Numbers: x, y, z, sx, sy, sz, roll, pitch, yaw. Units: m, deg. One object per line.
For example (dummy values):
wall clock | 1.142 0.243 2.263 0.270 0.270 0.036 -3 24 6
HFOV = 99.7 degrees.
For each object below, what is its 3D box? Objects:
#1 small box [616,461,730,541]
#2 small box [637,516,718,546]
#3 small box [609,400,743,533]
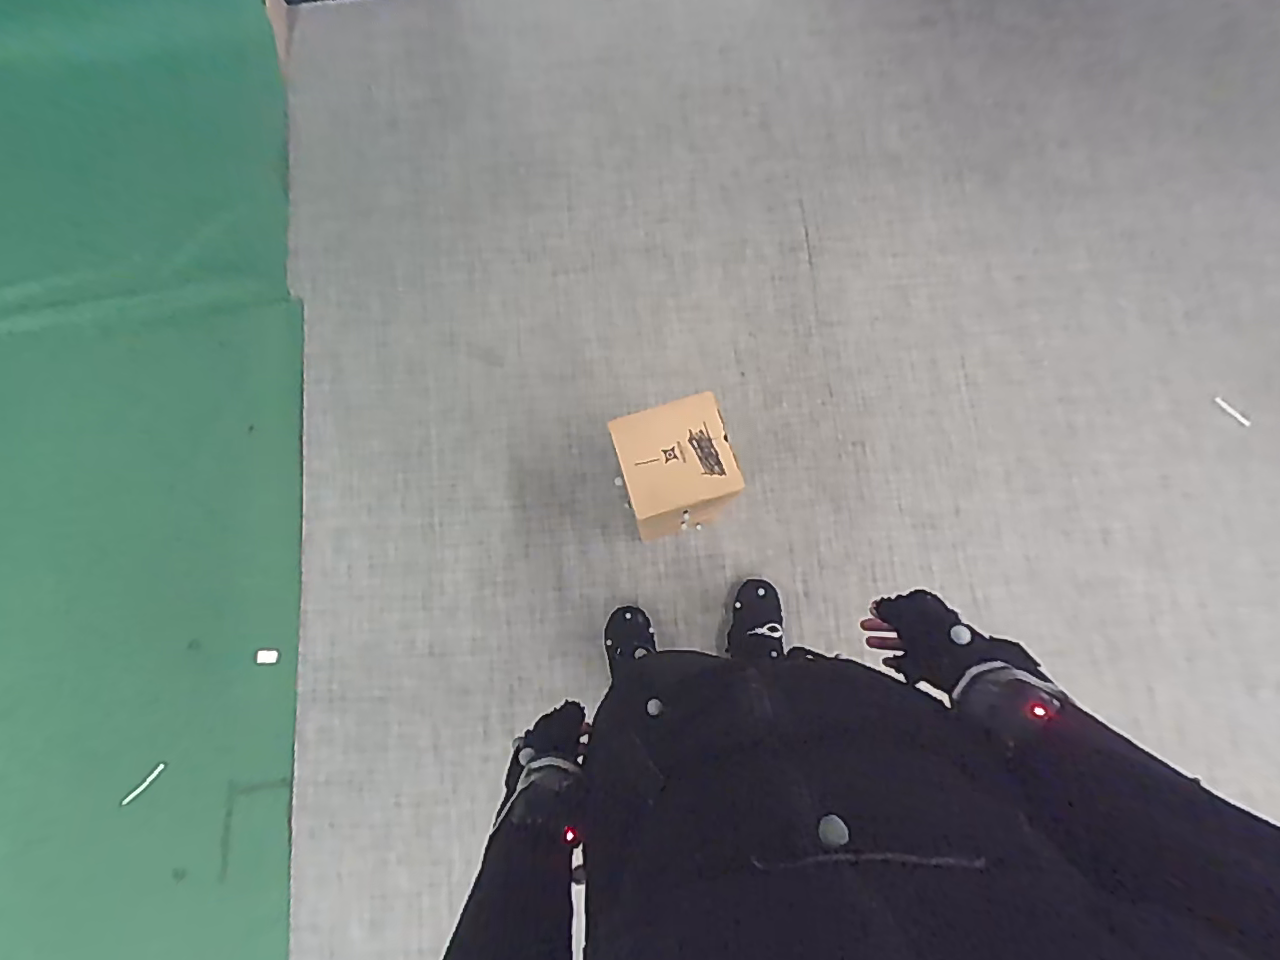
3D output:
small box | 0.061 0.017 1.082 0.179 0.176 0.168 -20 81 -1
small box | 0.065 0.048 1.241 0.179 0.176 0.168 -18 79 0
small box | 0.057 -0.015 0.918 0.179 0.176 0.168 -17 79 0
